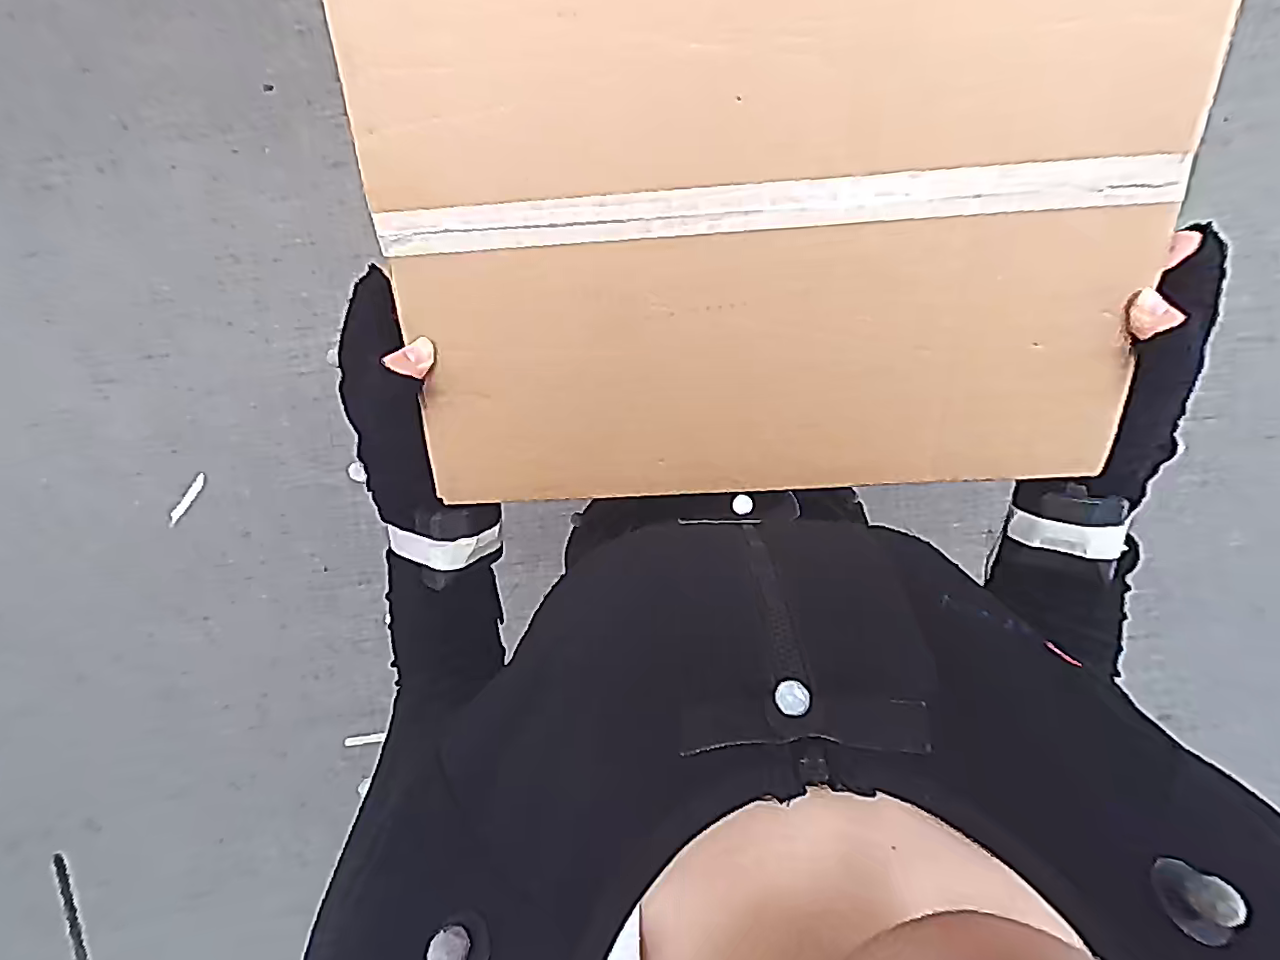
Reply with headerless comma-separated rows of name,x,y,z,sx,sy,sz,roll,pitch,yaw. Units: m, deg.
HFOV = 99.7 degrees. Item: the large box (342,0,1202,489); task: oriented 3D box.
large box,0.064,-0.203,0.421,0.408,0.320,0.320,-3,114,2
